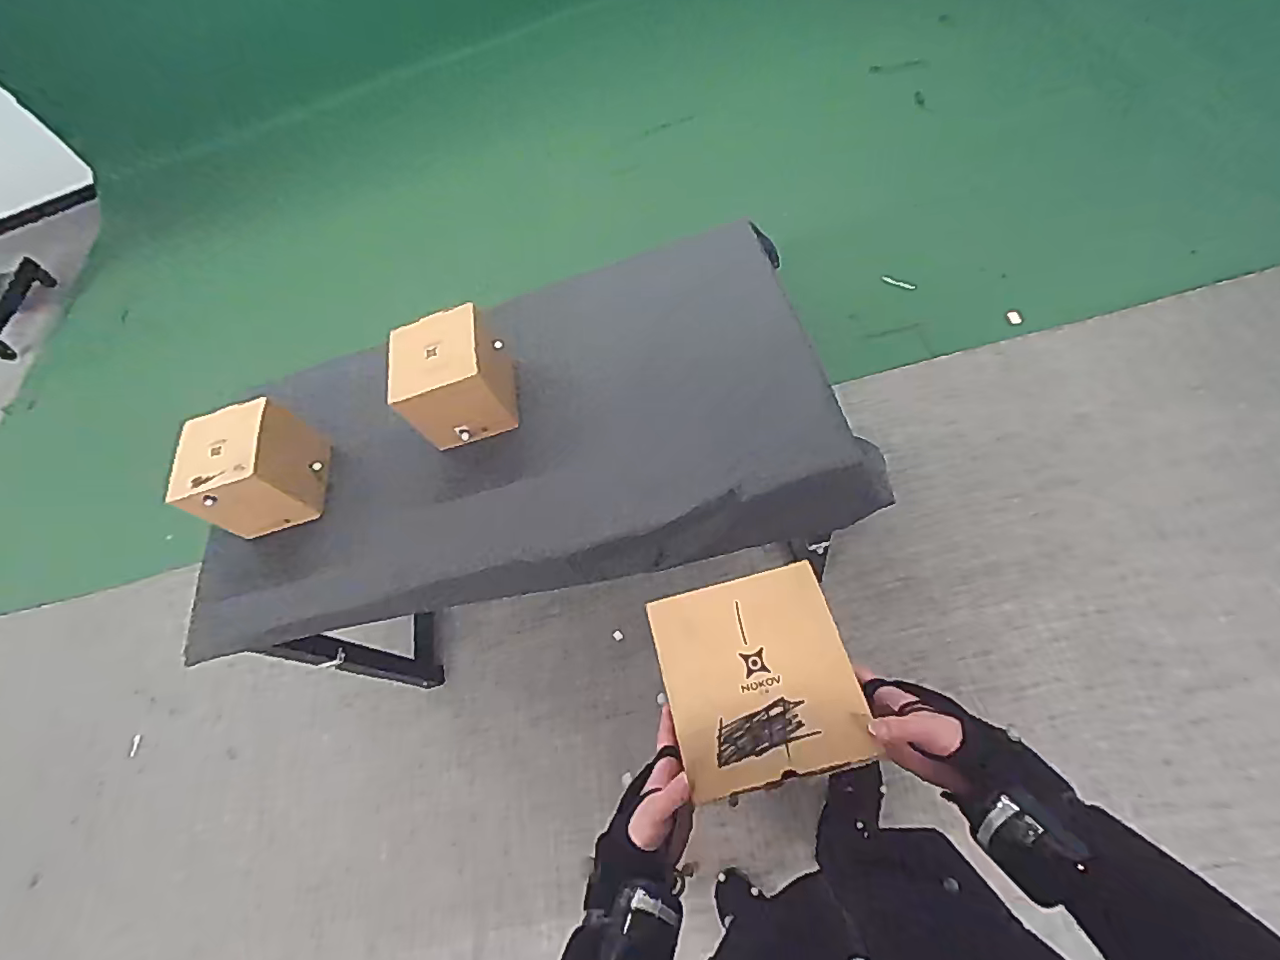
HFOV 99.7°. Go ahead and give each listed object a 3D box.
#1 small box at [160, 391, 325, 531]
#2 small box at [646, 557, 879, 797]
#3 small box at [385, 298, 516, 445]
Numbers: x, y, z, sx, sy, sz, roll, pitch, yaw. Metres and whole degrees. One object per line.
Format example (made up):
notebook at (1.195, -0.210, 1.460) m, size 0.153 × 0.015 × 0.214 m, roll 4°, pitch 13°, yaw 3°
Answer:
small box at (-0.717, -0.030, 0.999) m, size 0.168 × 0.176 × 0.179 m, roll -17°, pitch 60°, yaw 5°
small box at (0.112, 0.202, 0.553) m, size 0.168 × 0.176 × 0.179 m, roll -14°, pitch 62°, yaw 0°
small box at (-0.343, -0.194, 0.995) m, size 0.168 × 0.176 × 0.179 m, roll -17°, pitch 62°, yaw 6°
